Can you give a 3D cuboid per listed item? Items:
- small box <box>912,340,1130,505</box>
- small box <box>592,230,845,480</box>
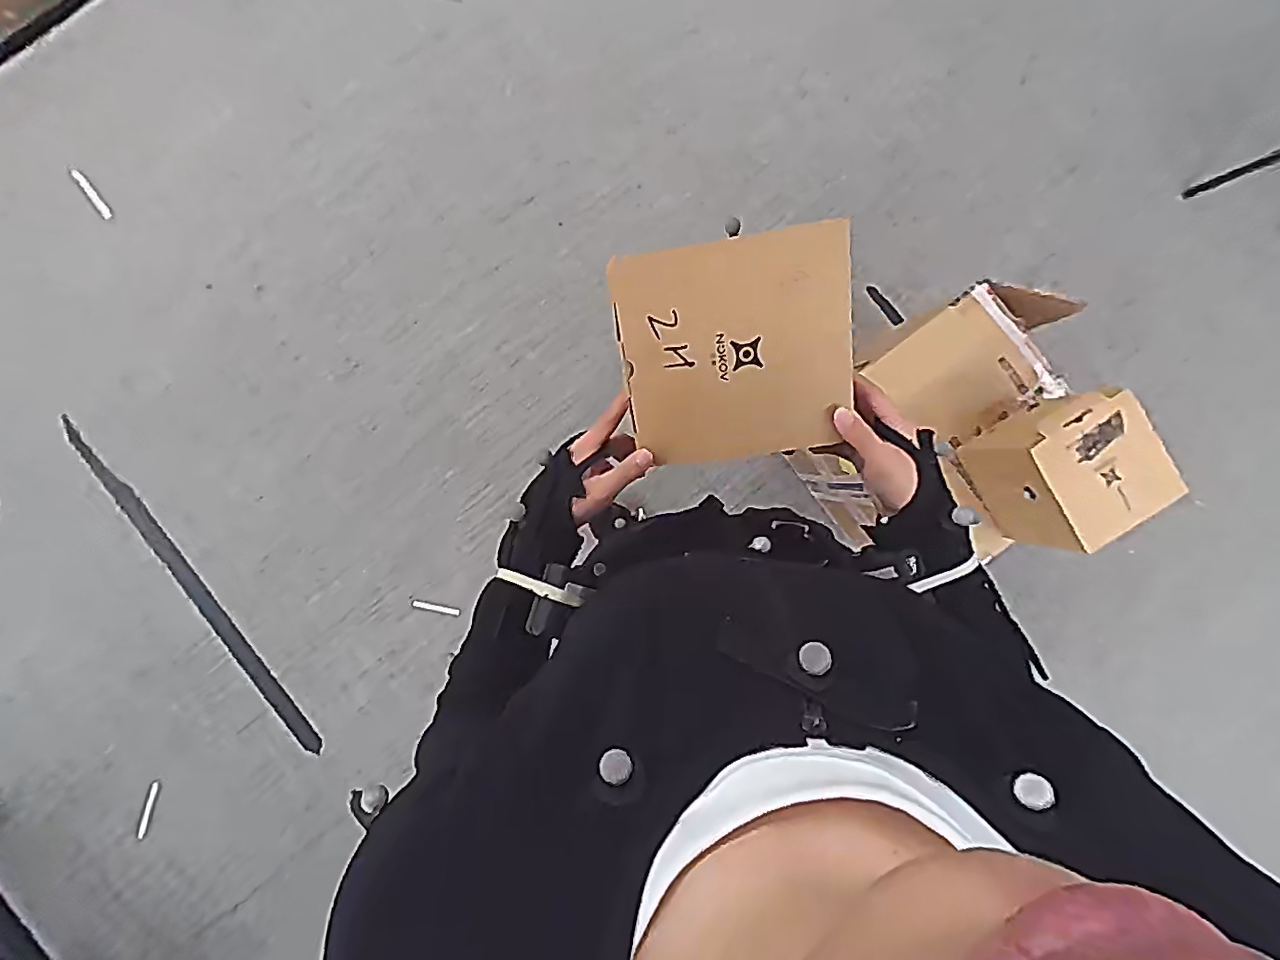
[{"bbox_3d":[0.563,-0.080,0.827,0.168,0.176,0.179,-40,92,0],"label":"small box"},{"bbox_3d":[0.067,-0.114,0.488,0.179,0.176,0.168,-10,107,8],"label":"small box"}]
